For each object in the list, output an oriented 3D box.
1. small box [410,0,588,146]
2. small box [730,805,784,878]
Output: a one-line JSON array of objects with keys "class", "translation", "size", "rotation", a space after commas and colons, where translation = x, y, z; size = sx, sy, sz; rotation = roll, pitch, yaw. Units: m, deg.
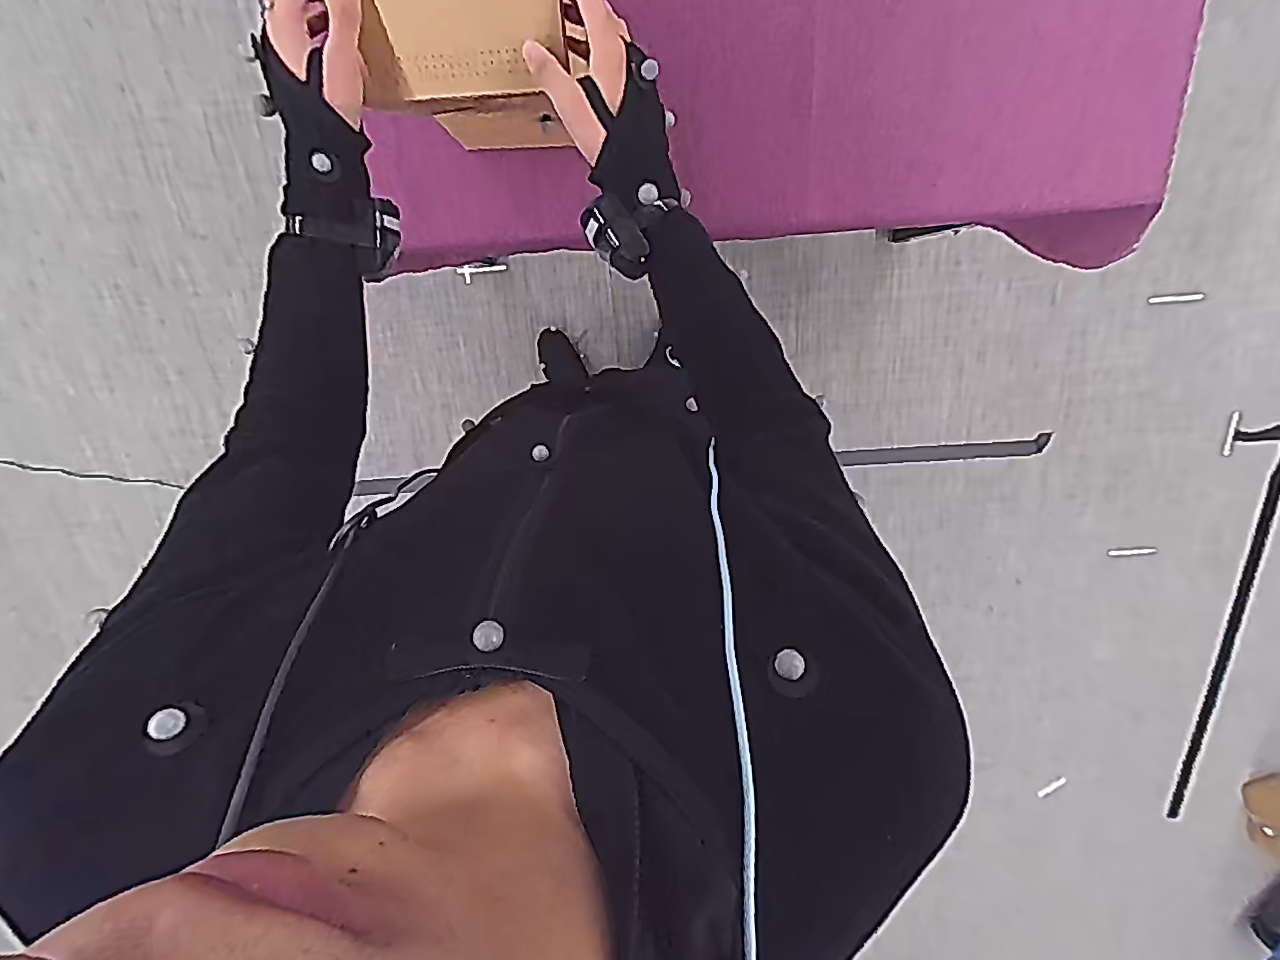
[{"class": "small box", "translation": [-0.153, -0.510, 0.636], "size": [0.179, 0.176, 0.168], "rotation": [-2, 108, -1]}, {"class": "small box", "translation": [0.442, 1.370, 2.063], "size": [0.168, 0.176, 0.179], "rotation": [-3, 109, -1]}]
